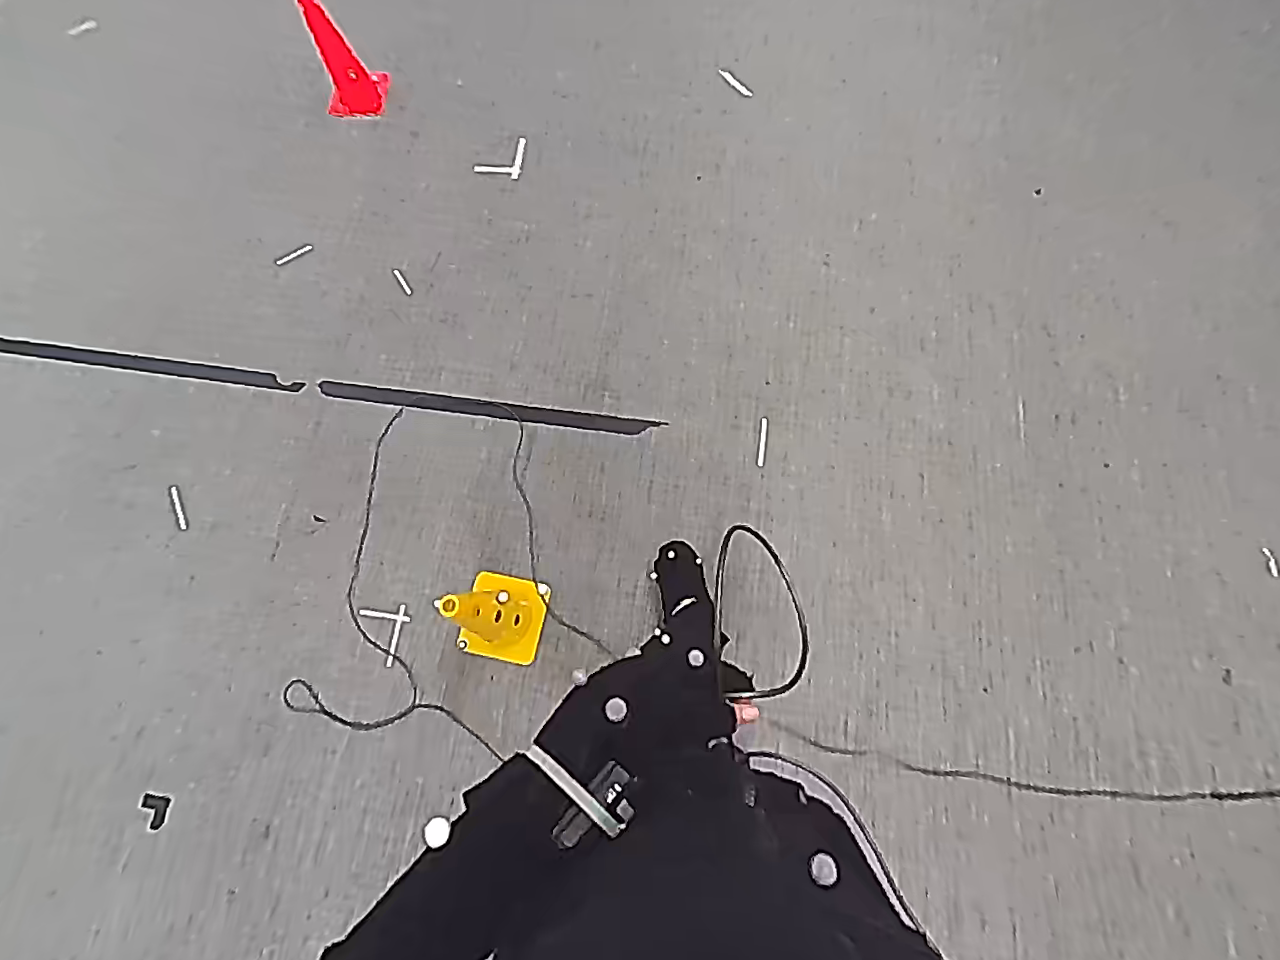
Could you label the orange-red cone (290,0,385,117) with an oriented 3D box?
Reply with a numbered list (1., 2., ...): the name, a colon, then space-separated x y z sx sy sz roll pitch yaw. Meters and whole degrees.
1. orange-red cone: -1.039 -1.428 1.777 0.199 0.360 0.198 2 72 6
